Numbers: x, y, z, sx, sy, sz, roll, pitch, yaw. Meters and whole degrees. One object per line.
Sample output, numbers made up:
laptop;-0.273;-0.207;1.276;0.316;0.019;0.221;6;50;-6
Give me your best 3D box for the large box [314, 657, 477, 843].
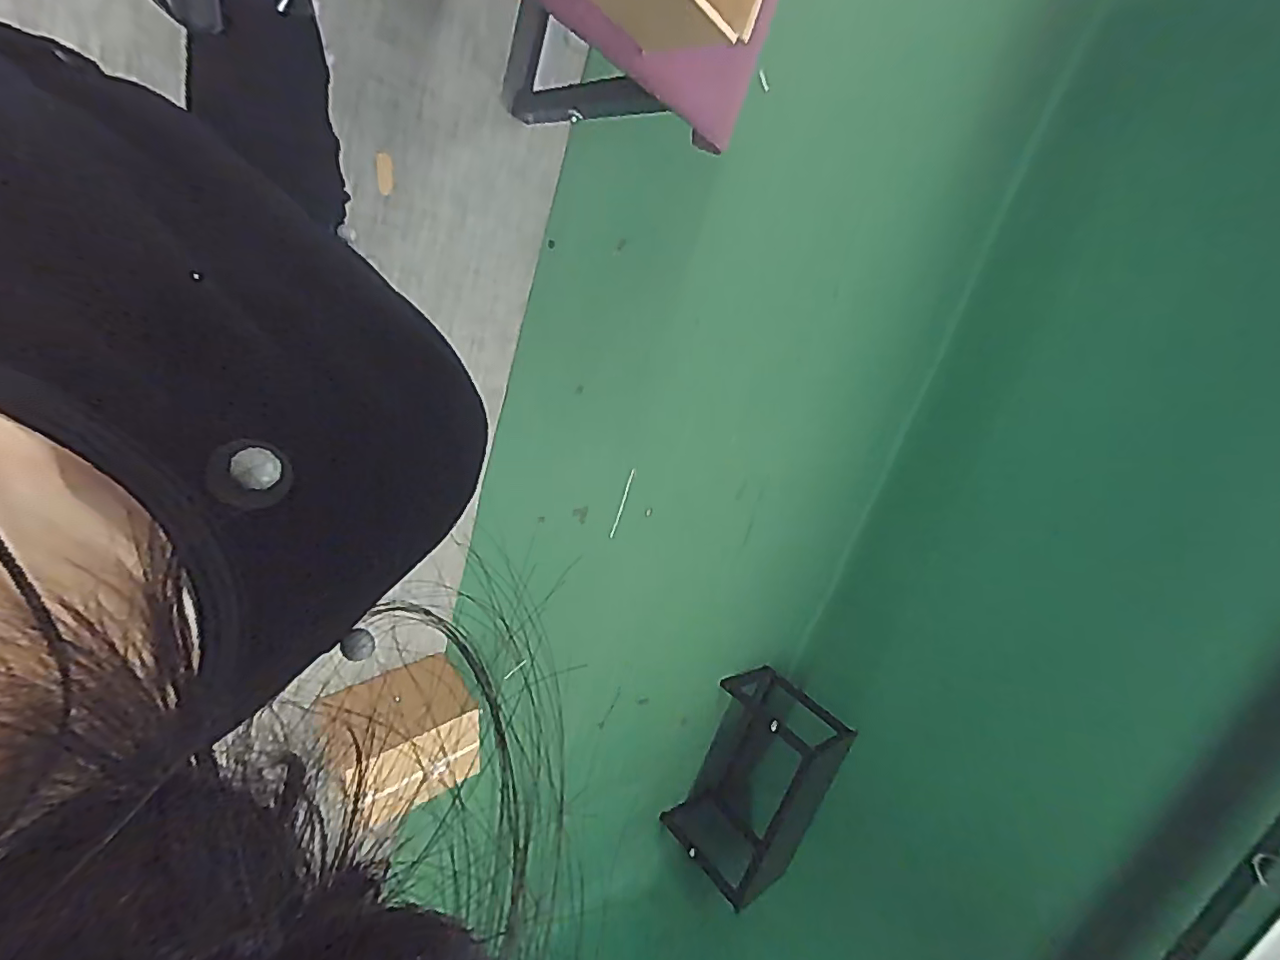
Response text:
large box;-0.796;0.862;1.784;0.408;0.320;0.320;-15;123;-40
